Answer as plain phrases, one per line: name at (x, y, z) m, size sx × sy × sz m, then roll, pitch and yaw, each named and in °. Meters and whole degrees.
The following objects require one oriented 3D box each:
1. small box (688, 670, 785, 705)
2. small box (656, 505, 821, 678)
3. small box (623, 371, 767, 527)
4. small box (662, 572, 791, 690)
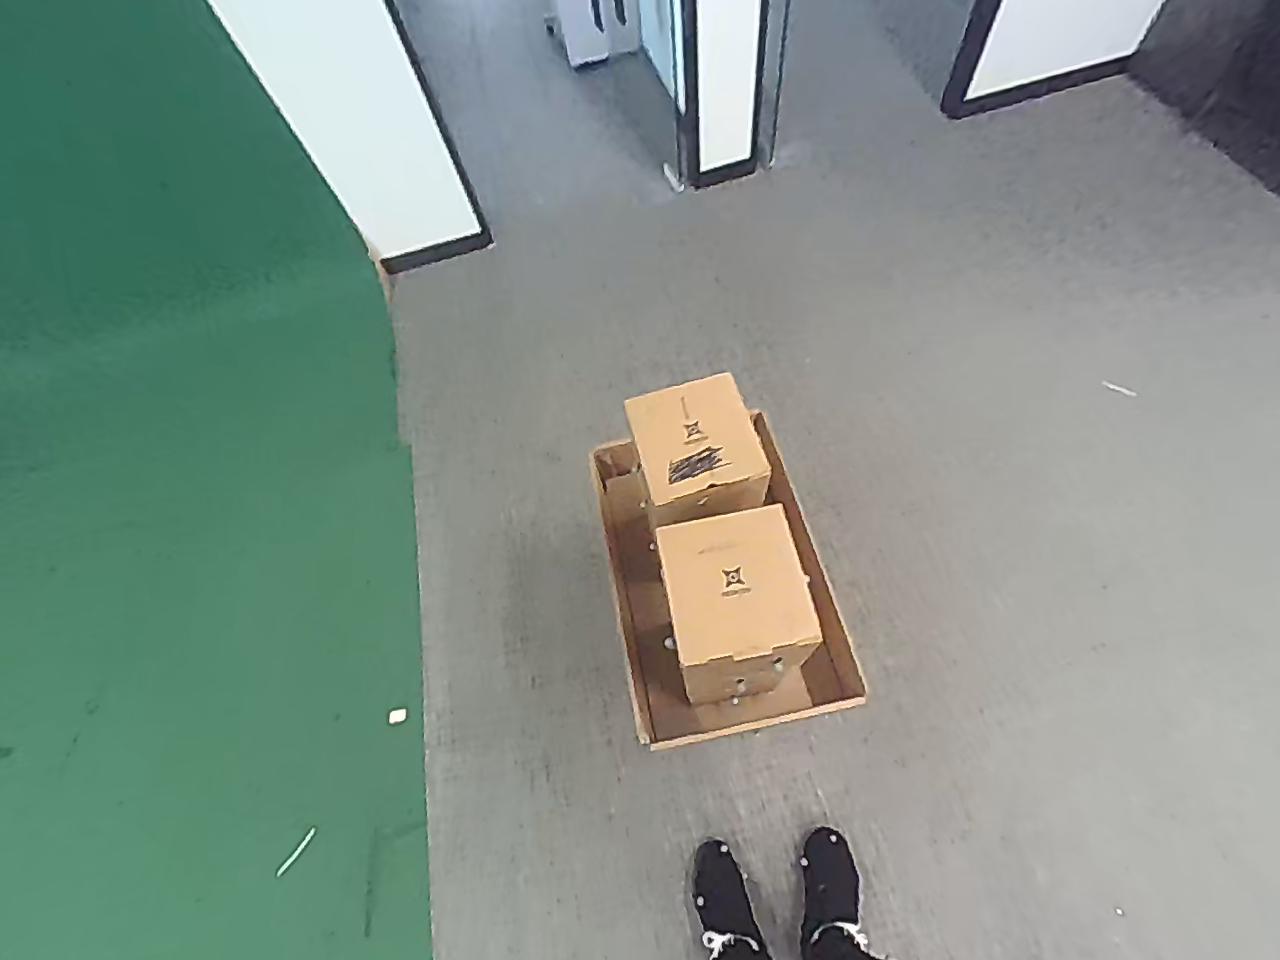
small box at (0.157, 0.303, 1.004) m, size 0.168 × 0.176 × 0.179 m, roll -13°, pitch 61°, yaw 2°
small box at (0.122, 0.157, 0.714) m, size 0.168 × 0.176 × 0.179 m, roll -11°, pitch 62°, yaw 2°
small box at (0.082, -0.030, 0.823) m, size 0.168 × 0.176 × 0.179 m, roll -16°, pitch 64°, yaw -1°
small box at (0.137, 0.228, 0.861) m, size 0.168 × 0.176 × 0.179 m, roll -12°, pitch 62°, yaw 1°
